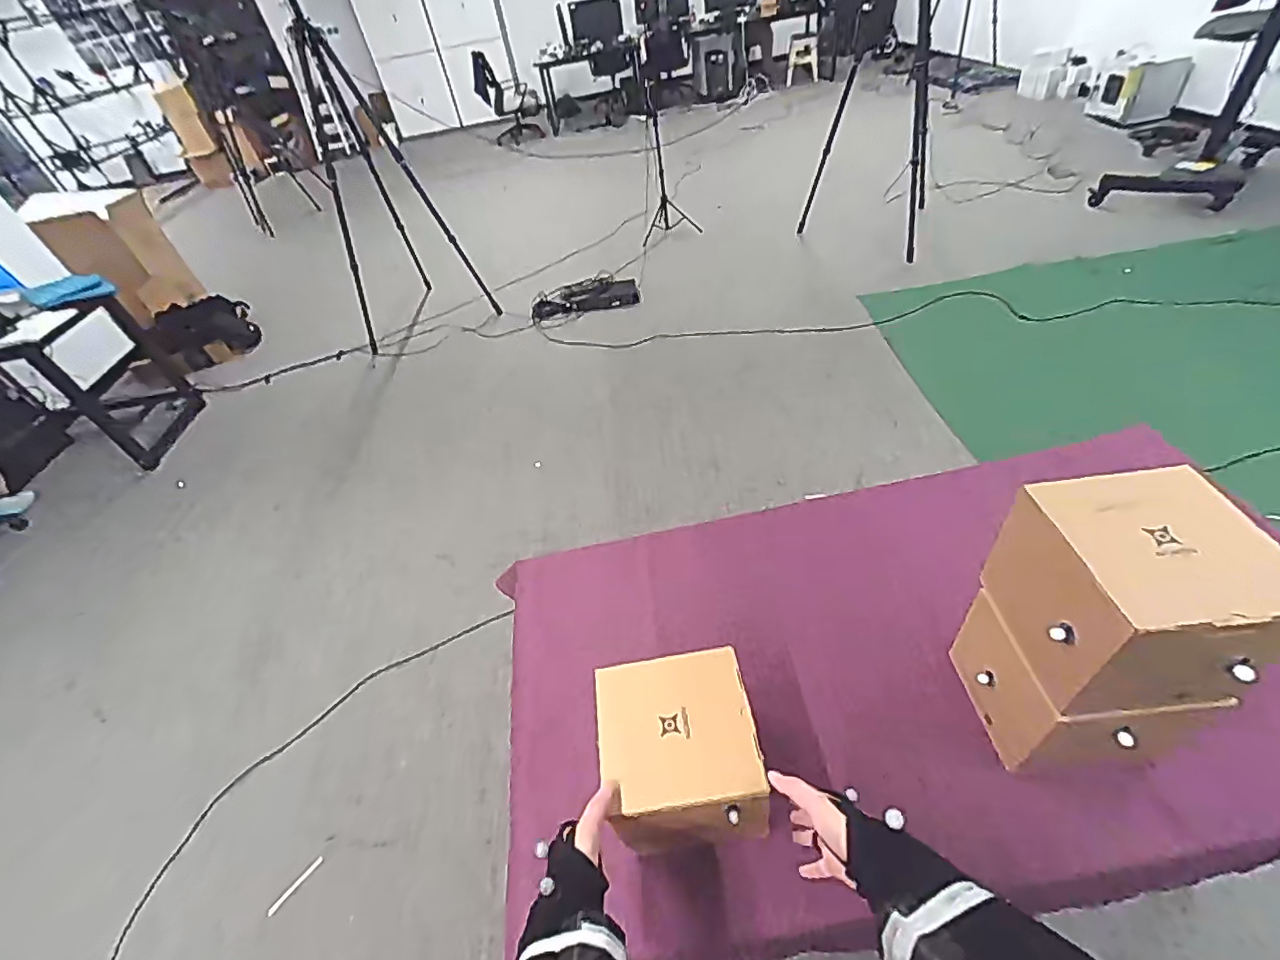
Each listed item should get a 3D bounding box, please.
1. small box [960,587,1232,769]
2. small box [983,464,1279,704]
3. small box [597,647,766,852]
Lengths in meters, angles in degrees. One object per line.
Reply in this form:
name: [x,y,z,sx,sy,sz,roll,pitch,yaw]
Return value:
small box: [0.518,0.233,0.656,0.179,0.176,0.168,-8,44,5]
small box: [0.490,0.112,0.550,0.168,0.176,0.179,-8,43,6]
small box: [0.051,0.335,0.668,0.179,0.176,0.168,-11,43,1]
